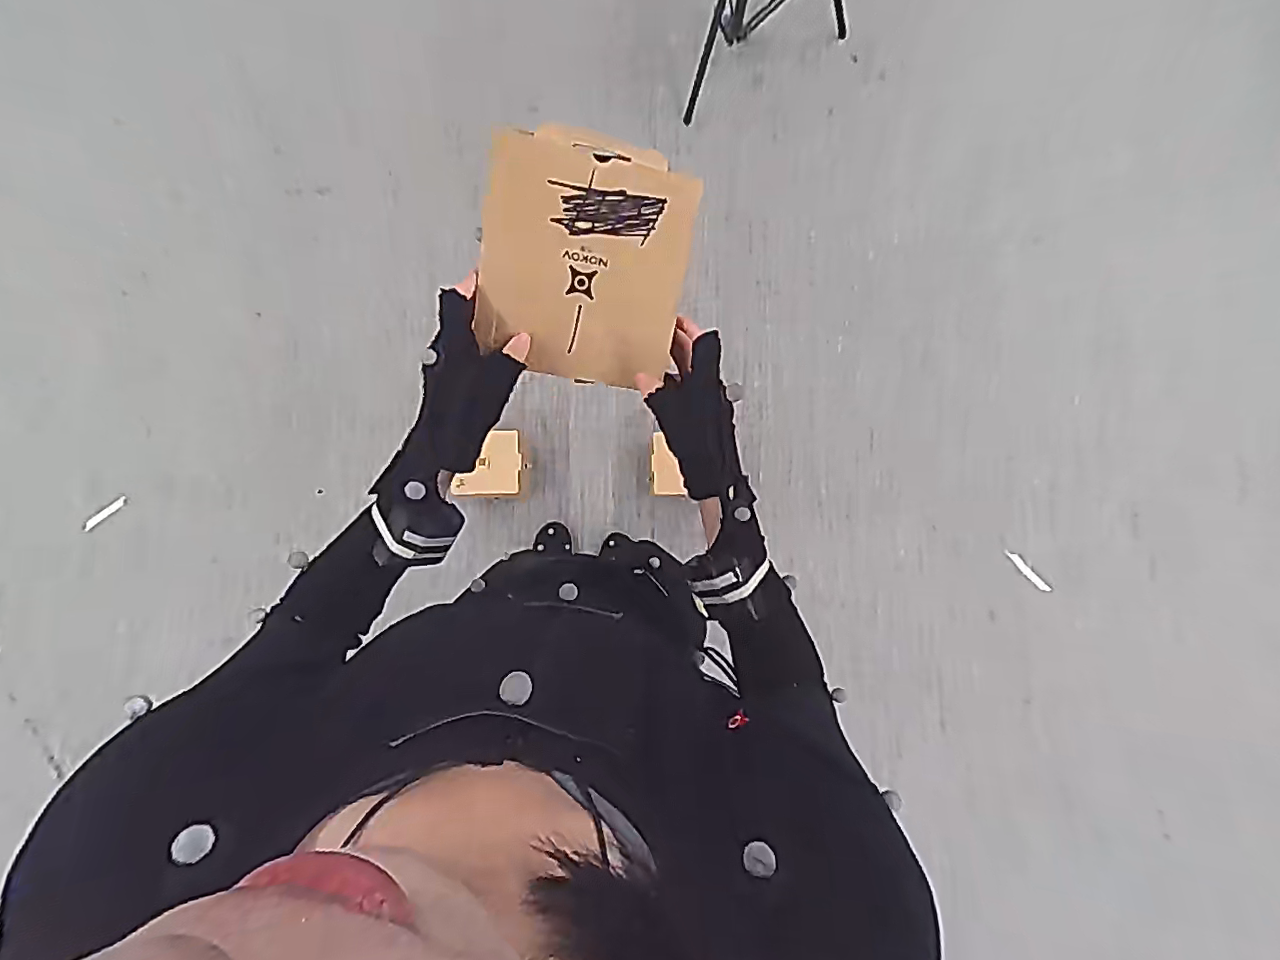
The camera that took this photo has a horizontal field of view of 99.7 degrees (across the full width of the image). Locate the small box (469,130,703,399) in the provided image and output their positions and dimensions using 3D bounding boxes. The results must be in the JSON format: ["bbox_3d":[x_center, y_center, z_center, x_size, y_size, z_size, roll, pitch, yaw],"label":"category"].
[{"bbox_3d":[-0.055,-0.190,0.508,0.168,0.176,0.179,9,109,-9],"label":"small box"}]

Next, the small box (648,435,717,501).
[{"bbox_3d":[0.111,-0.029,1.482,0.179,0.176,0.168,0,85,-3],"label":"small box"}]

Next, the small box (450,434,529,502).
[{"bbox_3d":[-0.401,-0.029,1.467,0.179,0.176,0.168,0,84,-2],"label":"small box"}]
